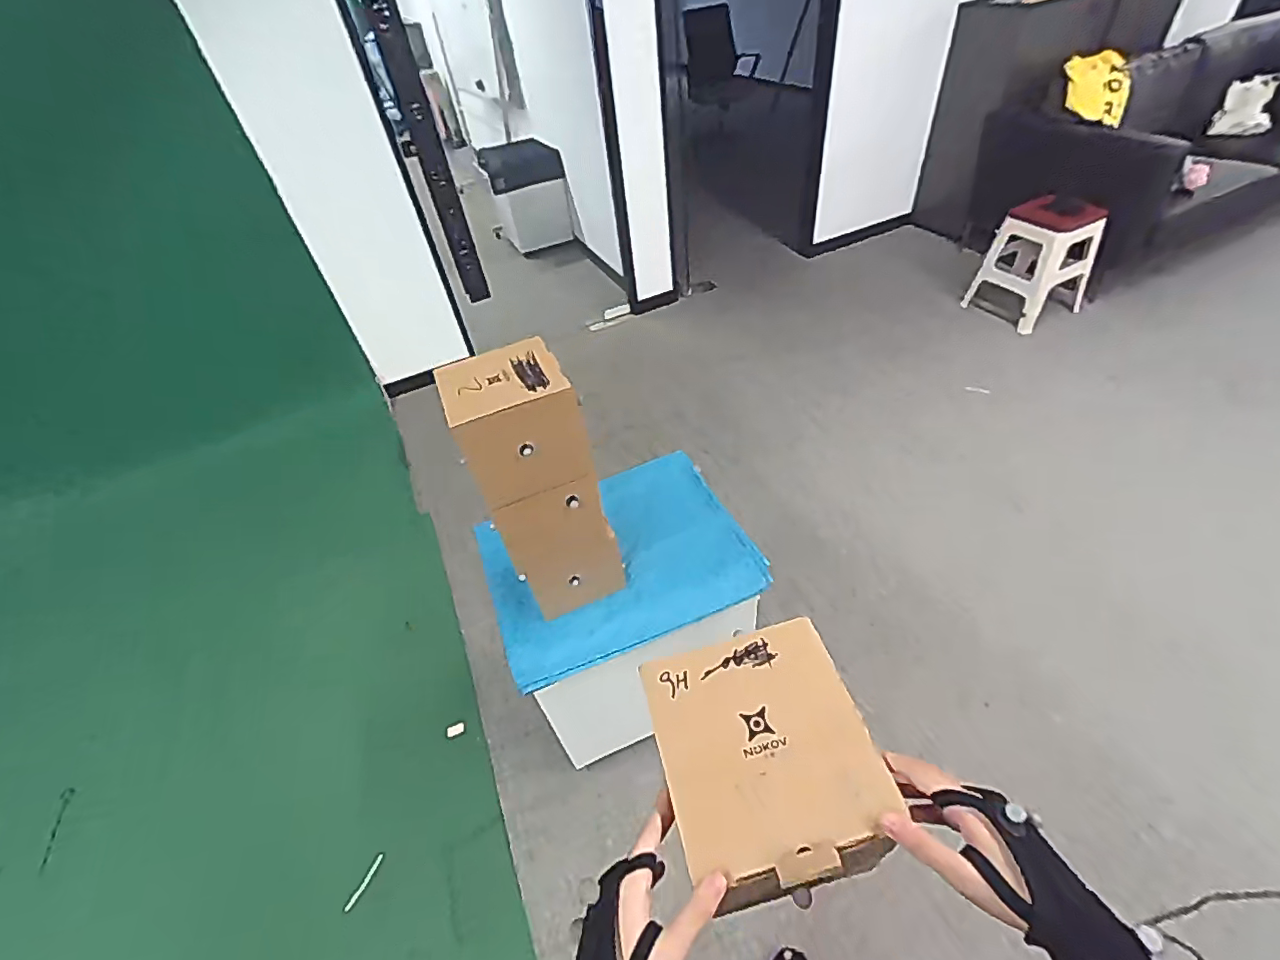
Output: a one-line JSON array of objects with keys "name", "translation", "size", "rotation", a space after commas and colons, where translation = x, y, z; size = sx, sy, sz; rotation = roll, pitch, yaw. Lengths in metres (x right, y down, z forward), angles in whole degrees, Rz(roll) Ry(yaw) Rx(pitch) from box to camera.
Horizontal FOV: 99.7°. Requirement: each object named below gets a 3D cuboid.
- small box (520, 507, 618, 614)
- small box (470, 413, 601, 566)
[{"name": "small box", "translation": [-0.150, 0.129, 1.061], "size": [0.179, 0.176, 0.168], "rotation": [-21, 46, -12]}, {"name": "small box", "translation": [-0.175, 0.017, 0.943], "size": [0.179, 0.176, 0.168], "rotation": [-21, 45, -12]}]
